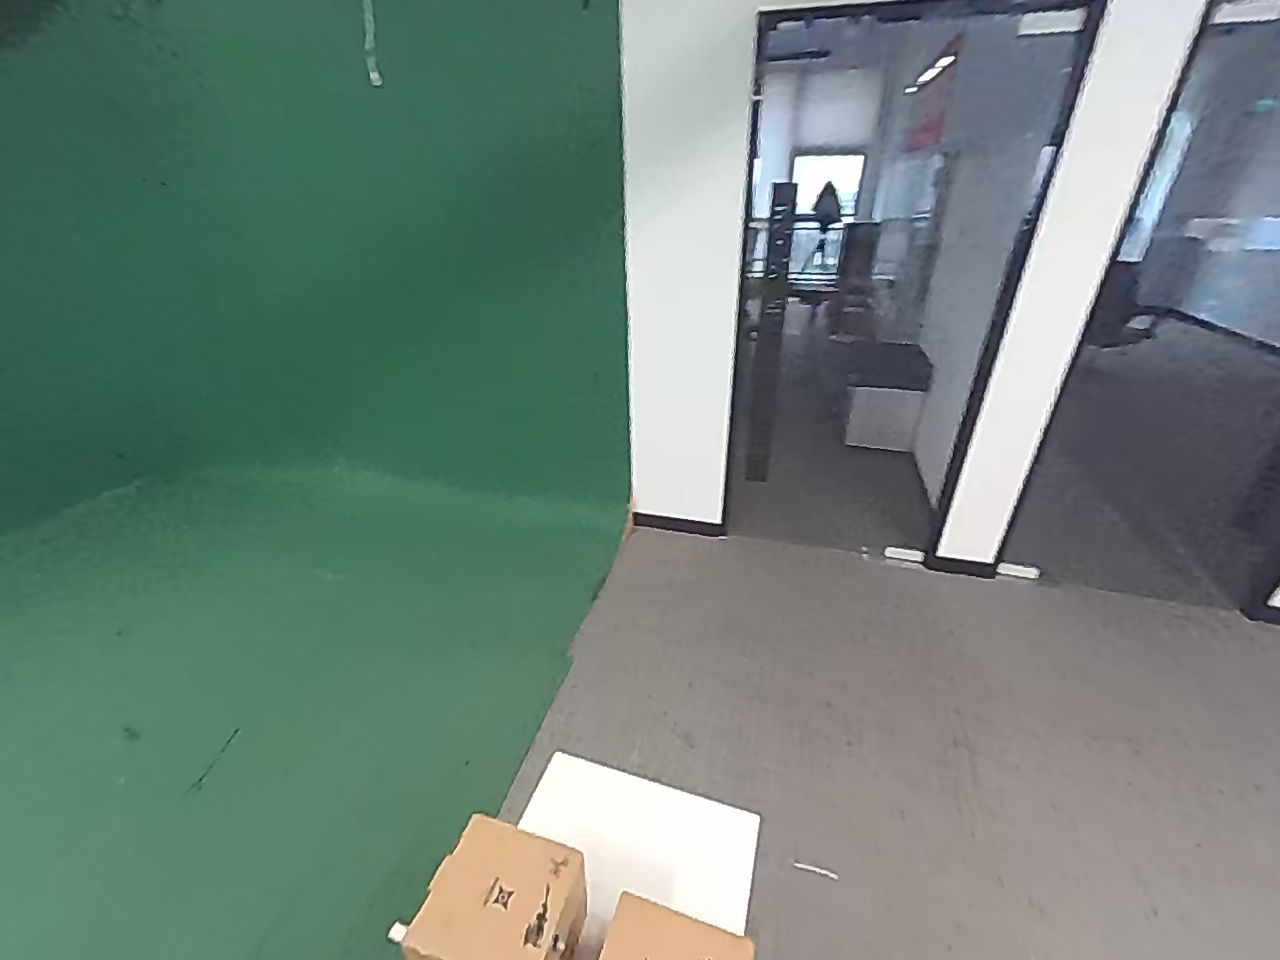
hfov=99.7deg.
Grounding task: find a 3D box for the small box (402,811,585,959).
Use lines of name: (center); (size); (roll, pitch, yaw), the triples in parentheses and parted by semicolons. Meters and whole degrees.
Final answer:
small box: (-0.186, 0.603, 0.740); (0.179, 0.176, 0.168); (9, 30, 15)
